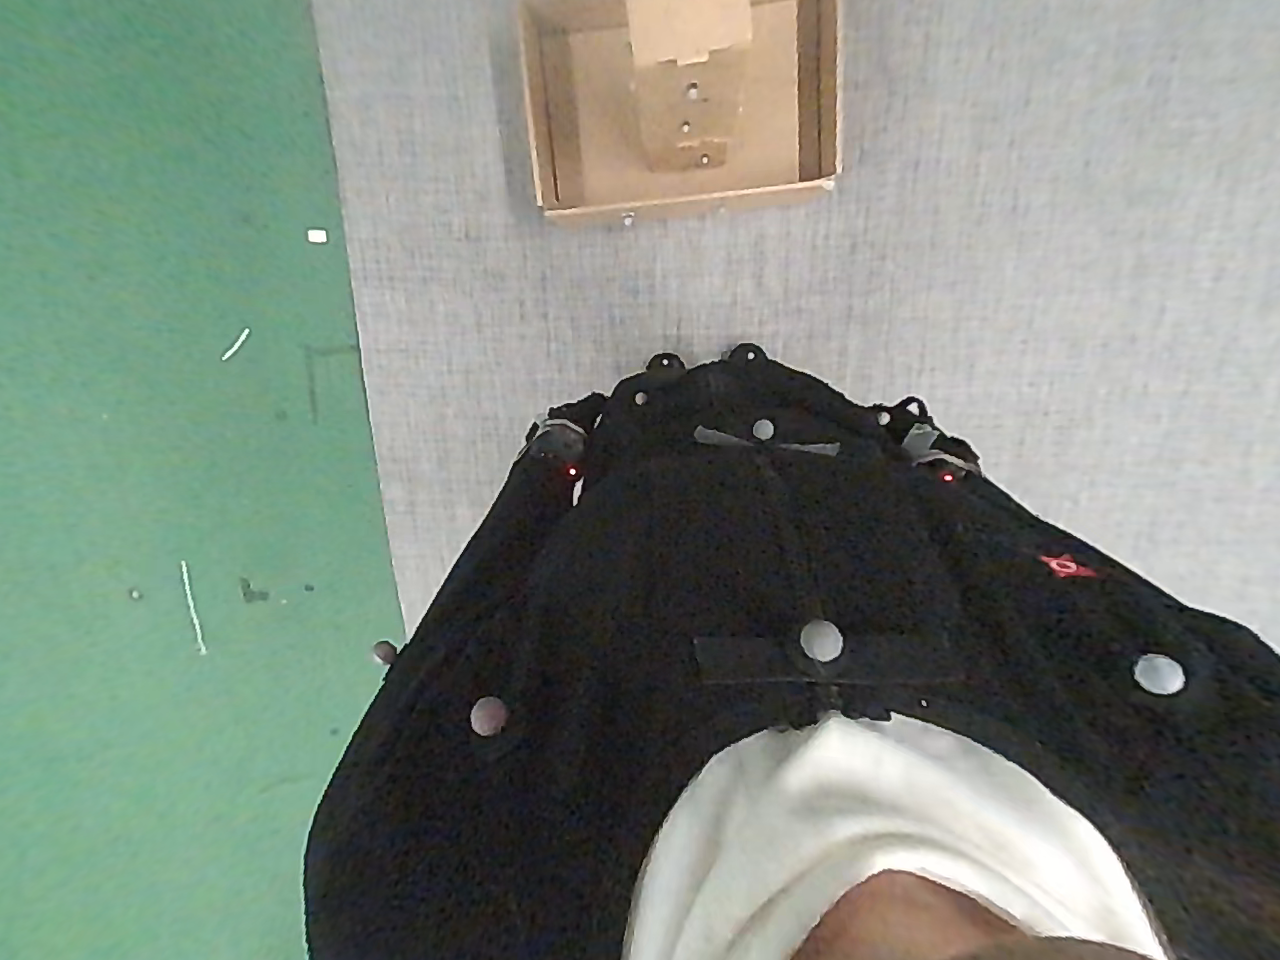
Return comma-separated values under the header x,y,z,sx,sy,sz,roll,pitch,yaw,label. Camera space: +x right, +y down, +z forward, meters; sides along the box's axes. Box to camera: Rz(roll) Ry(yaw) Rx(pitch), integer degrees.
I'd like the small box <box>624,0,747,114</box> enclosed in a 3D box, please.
x,y,z,sx,sy,sz,roll,pitch,yaw,label
0.066,-0.677,0.806,0.168,0.176,0.179,-5,104,6,small box

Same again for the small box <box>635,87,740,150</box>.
x,y,z,sx,sy,sz,roll,pitch,yaw,label
0.081,-0.714,0.964,0.179,0.176,0.168,-3,103,6,small box

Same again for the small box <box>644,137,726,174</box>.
x,y,z,sx,sy,sz,roll,pitch,yaw,label
0.093,-0.753,1.123,0.168,0.176,0.179,-1,102,5,small box
